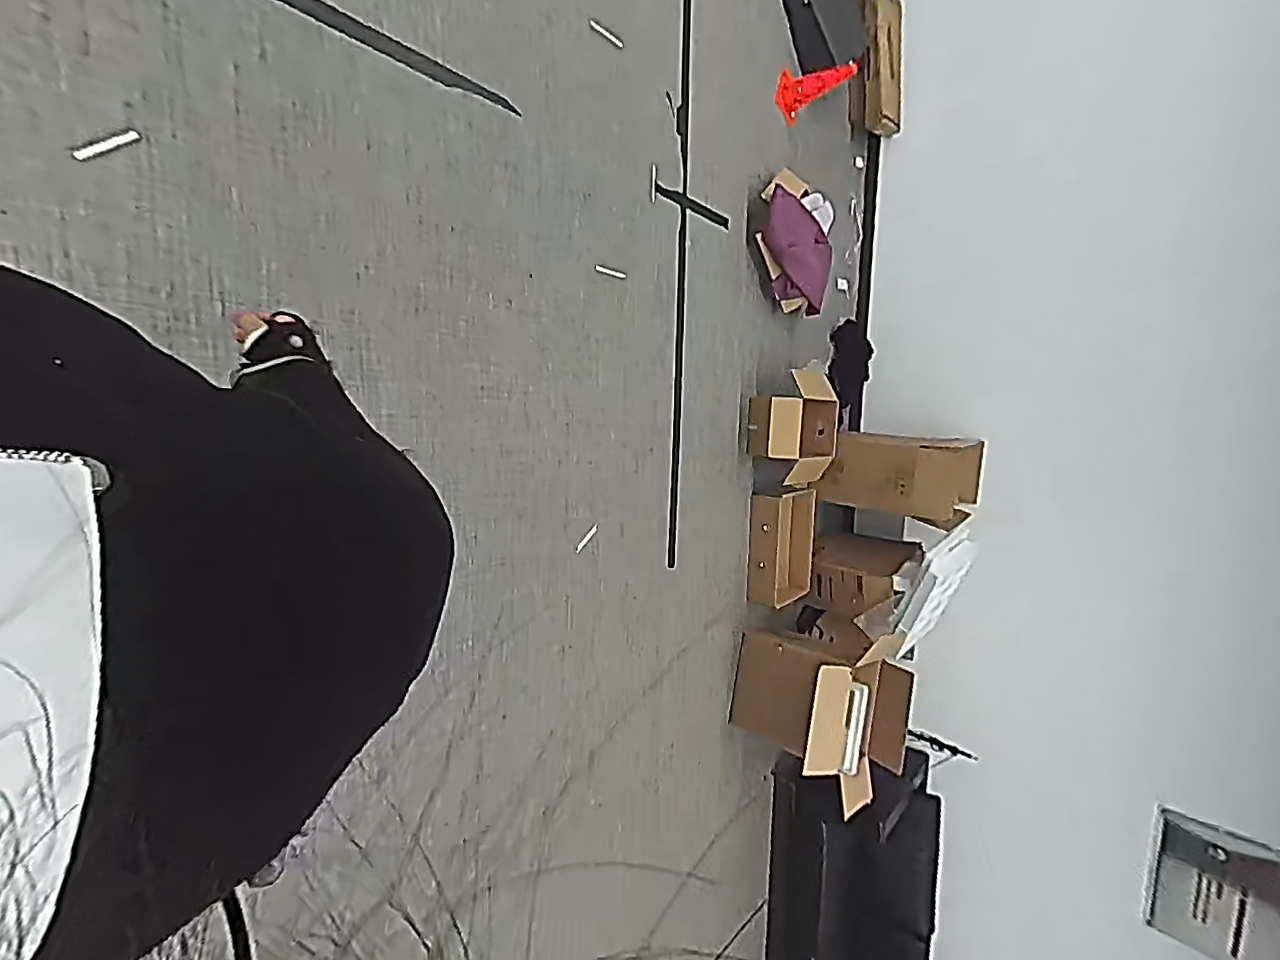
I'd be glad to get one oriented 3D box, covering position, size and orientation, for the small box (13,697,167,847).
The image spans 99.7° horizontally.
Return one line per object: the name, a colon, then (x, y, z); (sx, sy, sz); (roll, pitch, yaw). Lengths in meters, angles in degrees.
small box: (-0.929, 0.462, 0.923); (0.168, 0.176, 0.179); (-8, 102, -46)
